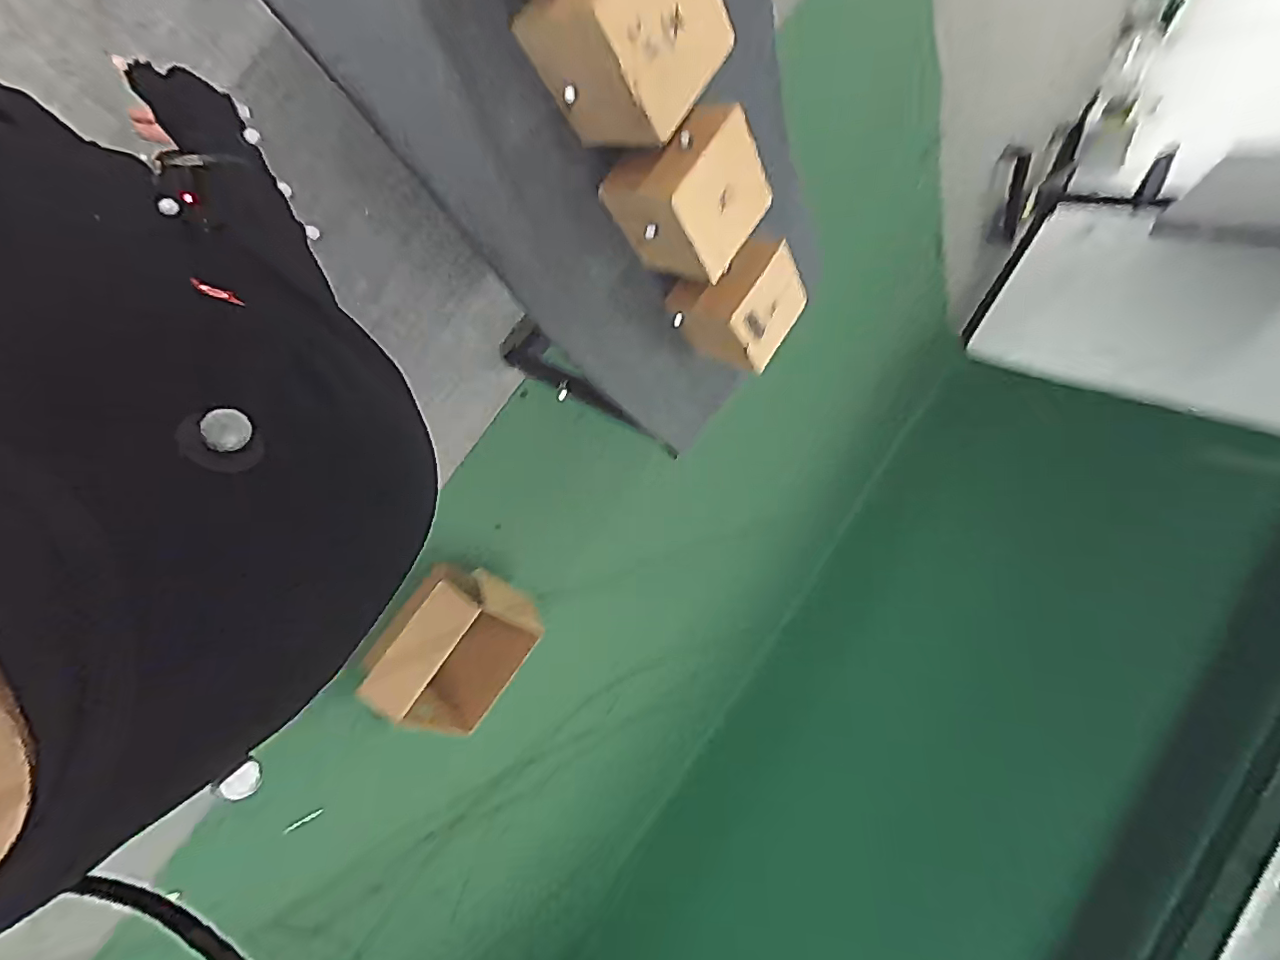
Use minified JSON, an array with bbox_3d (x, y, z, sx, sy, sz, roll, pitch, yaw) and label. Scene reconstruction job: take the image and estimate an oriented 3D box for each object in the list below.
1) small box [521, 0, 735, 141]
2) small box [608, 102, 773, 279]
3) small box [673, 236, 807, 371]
[{"bbox_3d":[-0.016,-0.564,0.679,0.179,0.176,0.168,-56,141,-4],"label":"small box"},{"bbox_3d":[0.073,-0.450,0.851,0.179,0.176,0.168,-56,141,-5],"label":"small box"},{"bbox_3d":[0.185,-0.343,1.035,0.179,0.176,0.168,-56,141,-5],"label":"small box"}]
